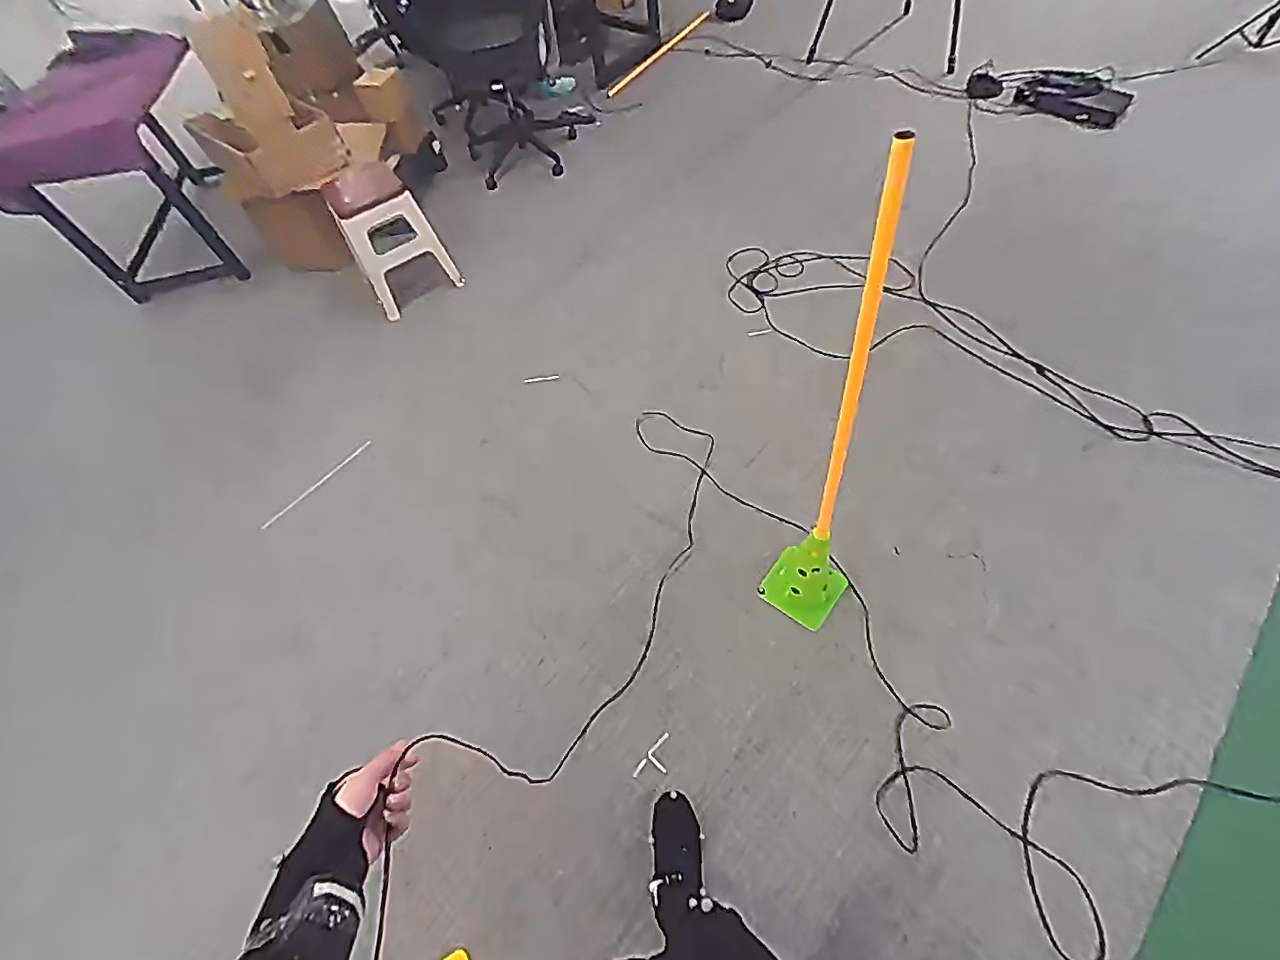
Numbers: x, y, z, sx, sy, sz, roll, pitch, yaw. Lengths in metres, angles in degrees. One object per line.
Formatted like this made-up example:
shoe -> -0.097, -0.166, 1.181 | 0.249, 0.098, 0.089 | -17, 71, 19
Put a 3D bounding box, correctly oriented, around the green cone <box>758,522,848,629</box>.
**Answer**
green cone -> 0.455, 0.215, 1.422 | 0.200, 0.368, 0.202 | 32, 66, 24
